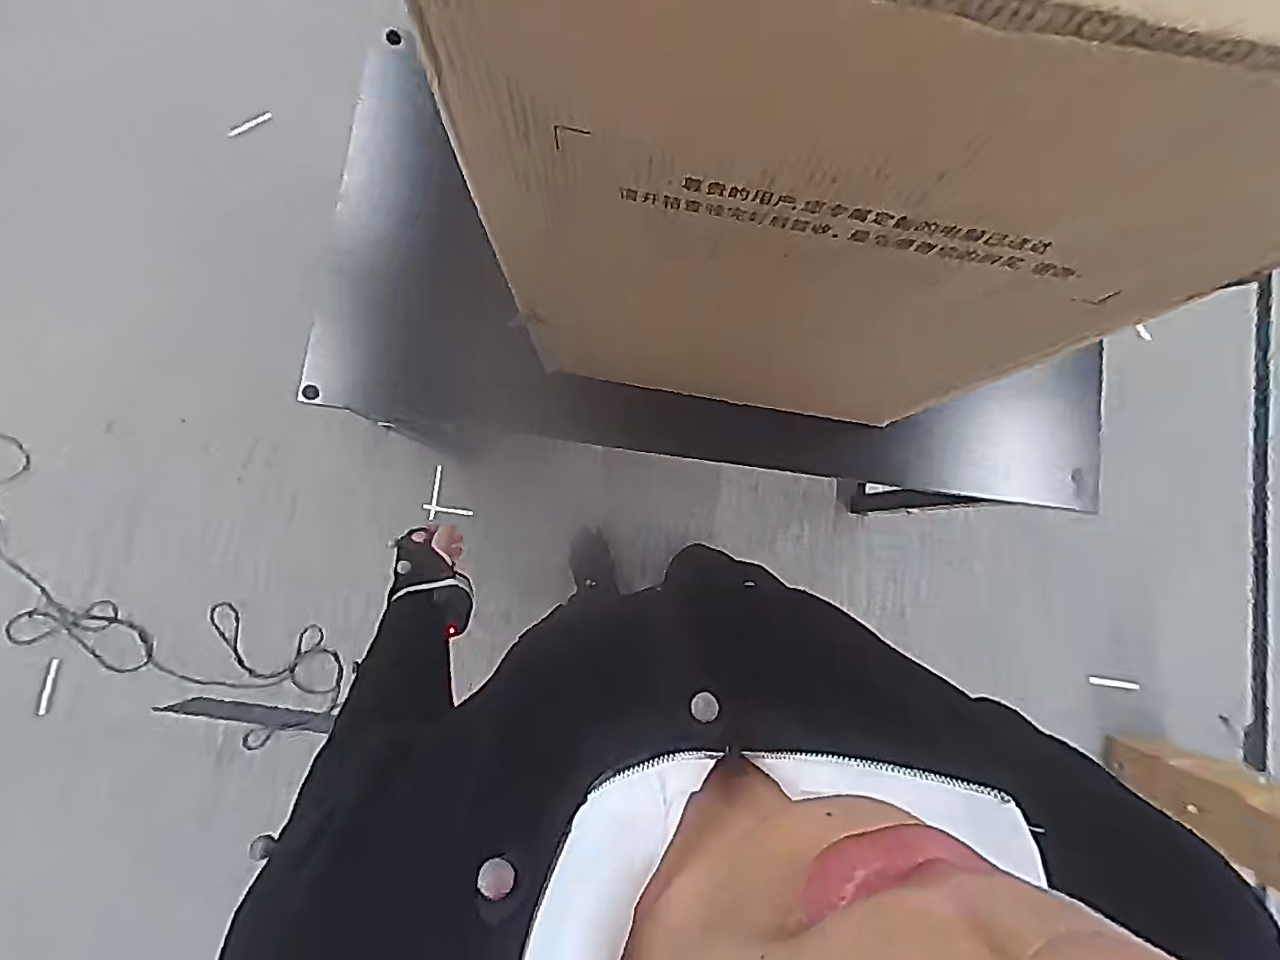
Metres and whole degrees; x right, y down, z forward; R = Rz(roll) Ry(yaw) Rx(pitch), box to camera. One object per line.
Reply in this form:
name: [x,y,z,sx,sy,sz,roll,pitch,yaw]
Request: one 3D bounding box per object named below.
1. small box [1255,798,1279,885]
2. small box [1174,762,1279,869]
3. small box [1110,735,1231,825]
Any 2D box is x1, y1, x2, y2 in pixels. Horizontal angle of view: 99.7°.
small box: [1.443,0.780,1.118,0.179,0.176,0.168,-2,83,-3]
small box: [1.439,0.785,1.282,0.179,0.176,0.168,0,83,-3]
small box: [1.417,0.798,1.446,0.179,0.176,0.168,5,83,-2]
